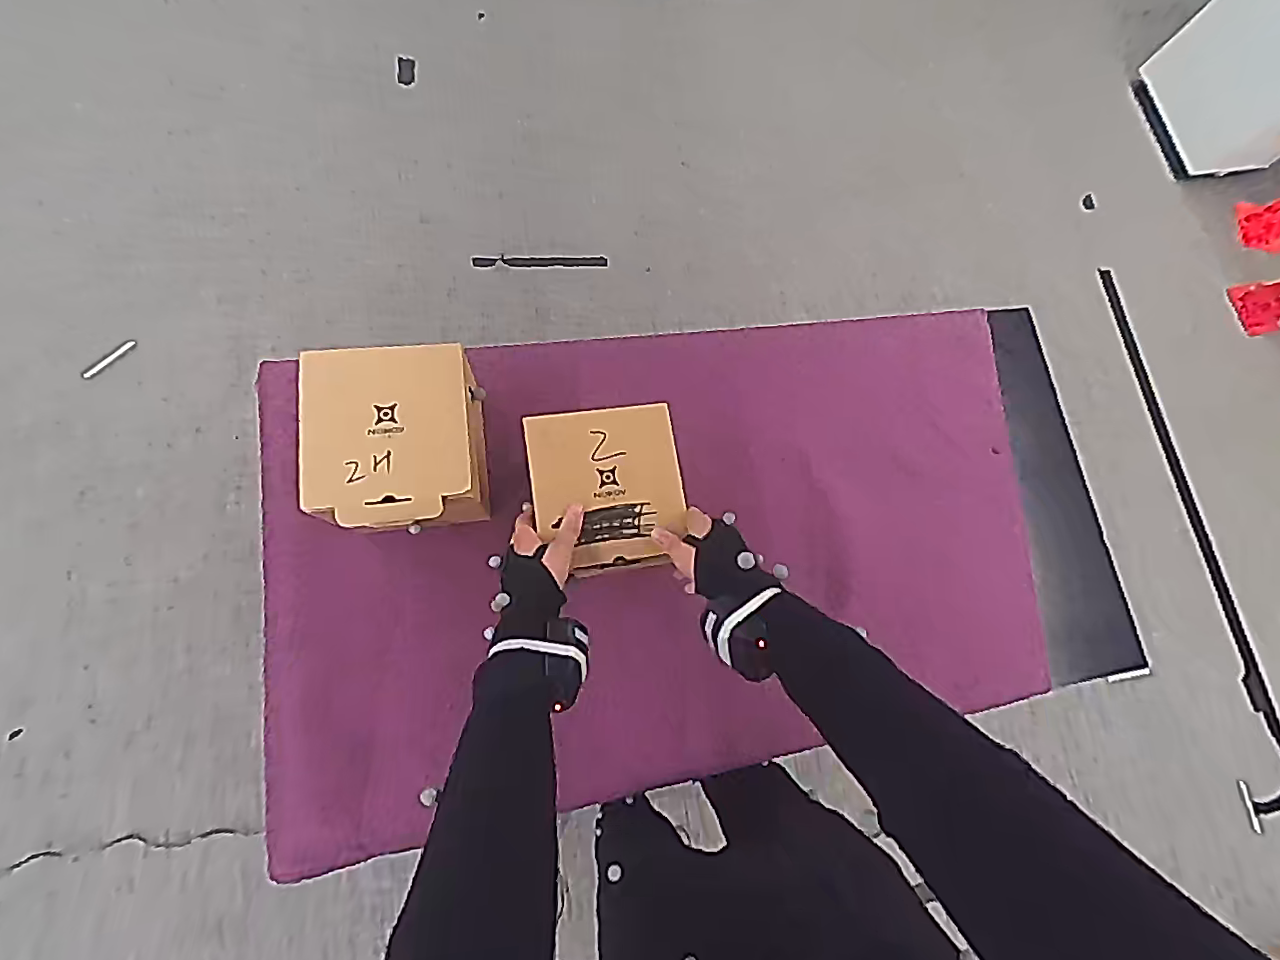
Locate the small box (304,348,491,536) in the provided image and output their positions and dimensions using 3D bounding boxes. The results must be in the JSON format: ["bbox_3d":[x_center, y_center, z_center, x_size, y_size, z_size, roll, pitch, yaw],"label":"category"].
[{"bbox_3d":[-0.275,-0.038,0.643,0.168,0.176,0.179,-6,78,-10],"label":"small box"}]
